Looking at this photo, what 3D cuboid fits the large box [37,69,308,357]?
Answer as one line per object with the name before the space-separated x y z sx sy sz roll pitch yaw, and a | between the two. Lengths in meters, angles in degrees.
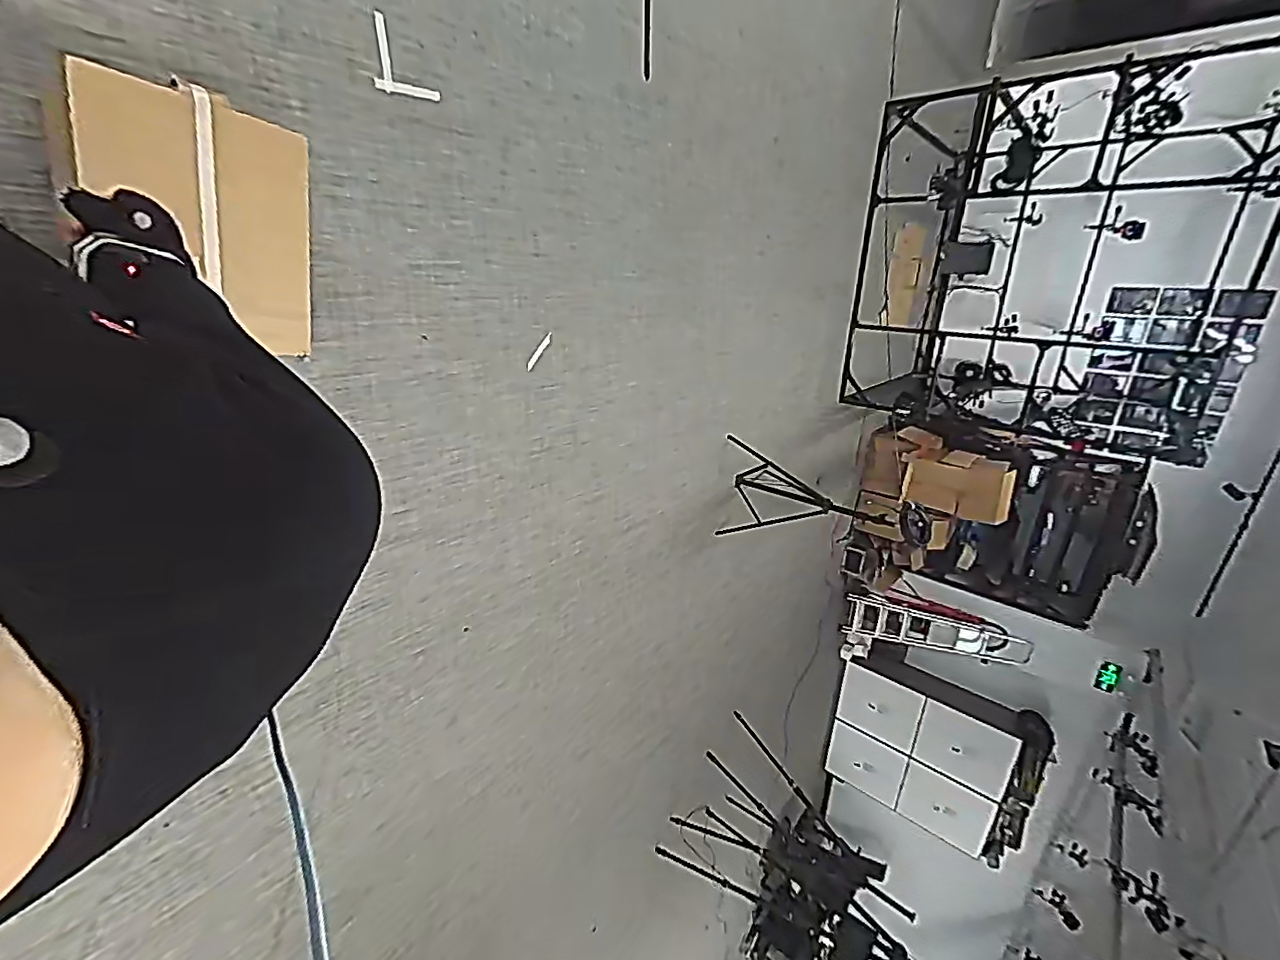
large box | -0.867 -0.462 1.025 0.320 0.320 0.408 -10 113 -50
